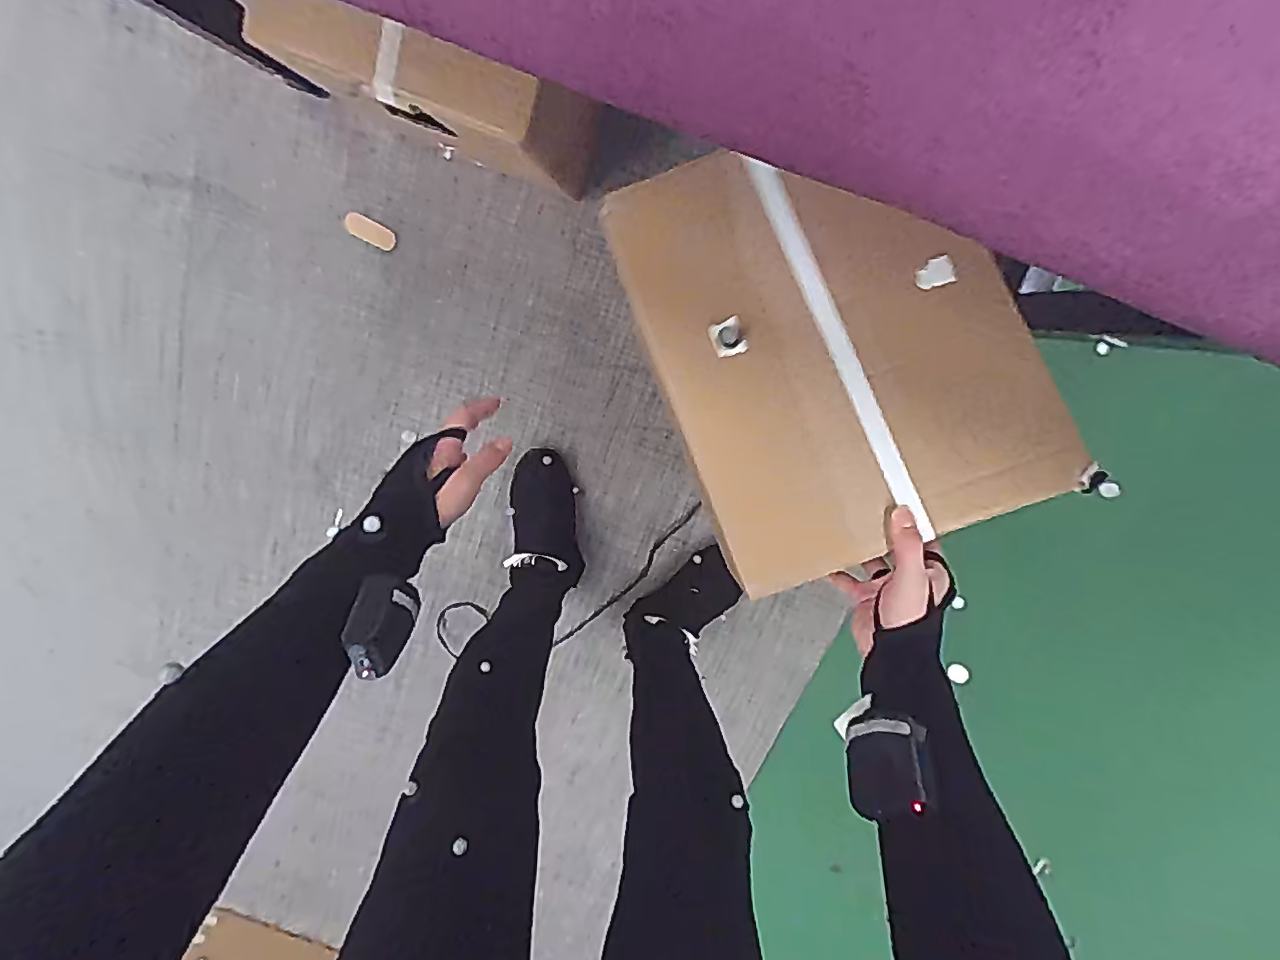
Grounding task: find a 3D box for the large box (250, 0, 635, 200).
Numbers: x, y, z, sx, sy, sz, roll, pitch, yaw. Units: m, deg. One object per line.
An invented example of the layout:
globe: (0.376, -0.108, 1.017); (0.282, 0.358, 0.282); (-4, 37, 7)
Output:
large box: (-0.188, -0.622, 0.649); (0.320, 0.320, 0.408); (20, 107, -2)
